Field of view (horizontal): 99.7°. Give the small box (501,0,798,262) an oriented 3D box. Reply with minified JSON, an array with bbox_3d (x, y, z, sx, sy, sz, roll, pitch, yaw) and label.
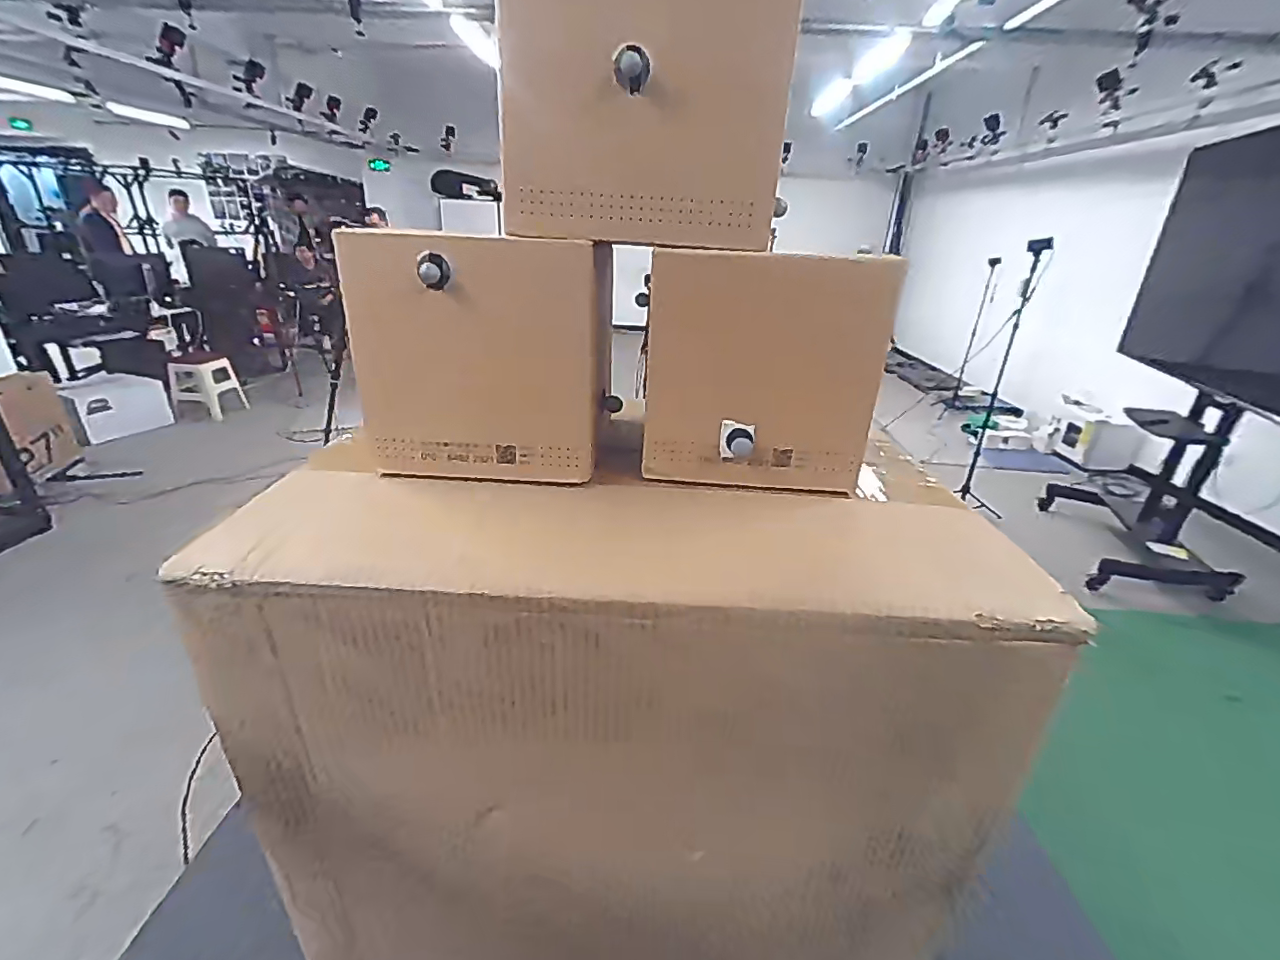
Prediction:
[{"bbox_3d":[0.004,-0.257,0.407,0.179,0.176,0.168,3,22,0],"label":"small box"}]

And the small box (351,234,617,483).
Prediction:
[{"bbox_3d":[-0.110,-0.108,0.458,0.168,0.176,0.179,2,22,2],"label":"small box"}]
